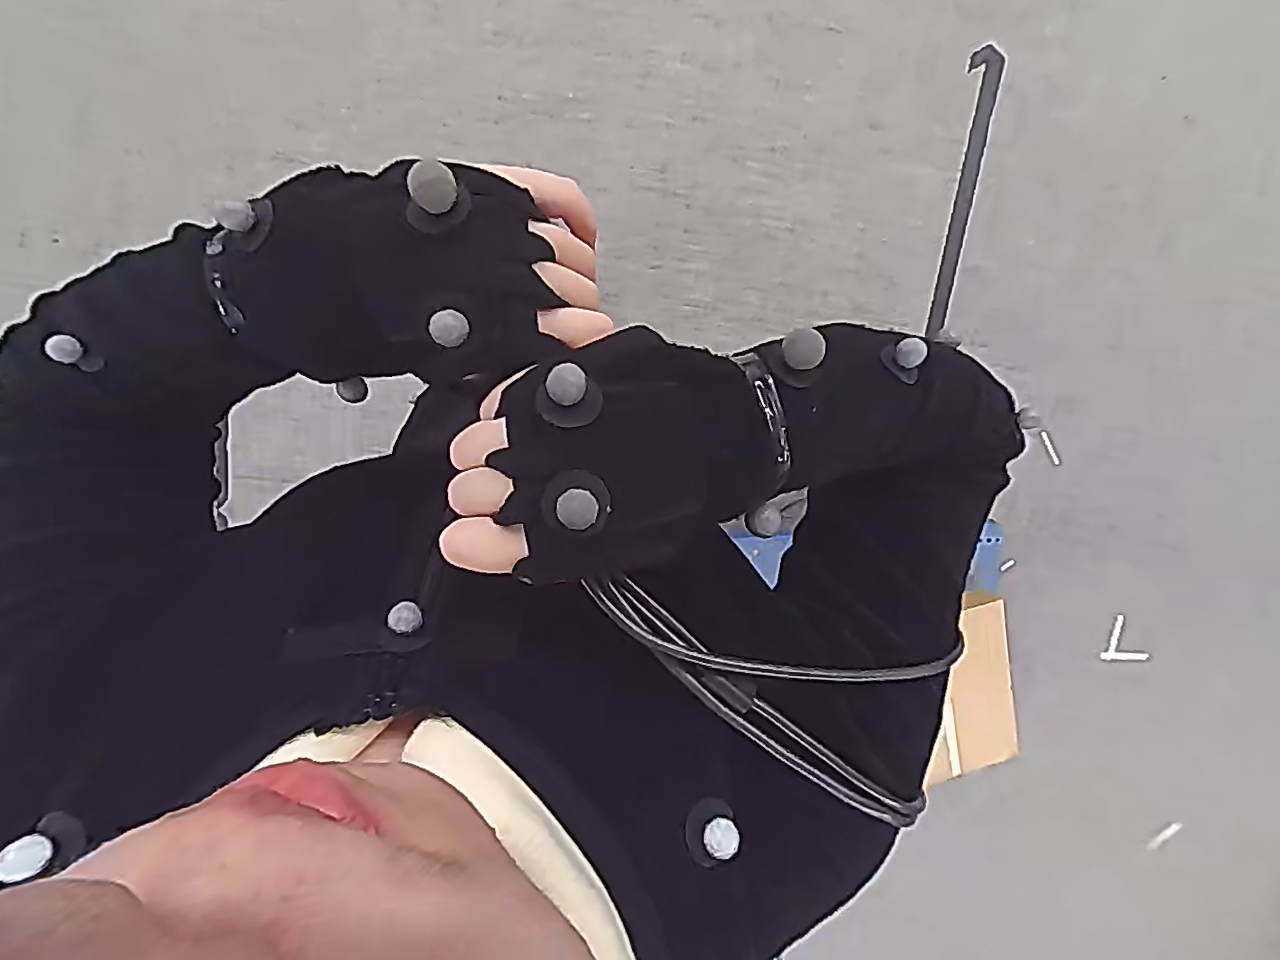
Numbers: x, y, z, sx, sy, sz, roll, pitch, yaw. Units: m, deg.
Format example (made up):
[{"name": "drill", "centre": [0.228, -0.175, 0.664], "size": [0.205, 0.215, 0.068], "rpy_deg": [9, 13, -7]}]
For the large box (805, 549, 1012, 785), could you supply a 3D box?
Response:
[{"name": "large box", "centre": [0.639, 0.434, 1.327], "size": [0.320, 0.320, 0.408], "rpy_deg": [-15, 103, -2]}]
